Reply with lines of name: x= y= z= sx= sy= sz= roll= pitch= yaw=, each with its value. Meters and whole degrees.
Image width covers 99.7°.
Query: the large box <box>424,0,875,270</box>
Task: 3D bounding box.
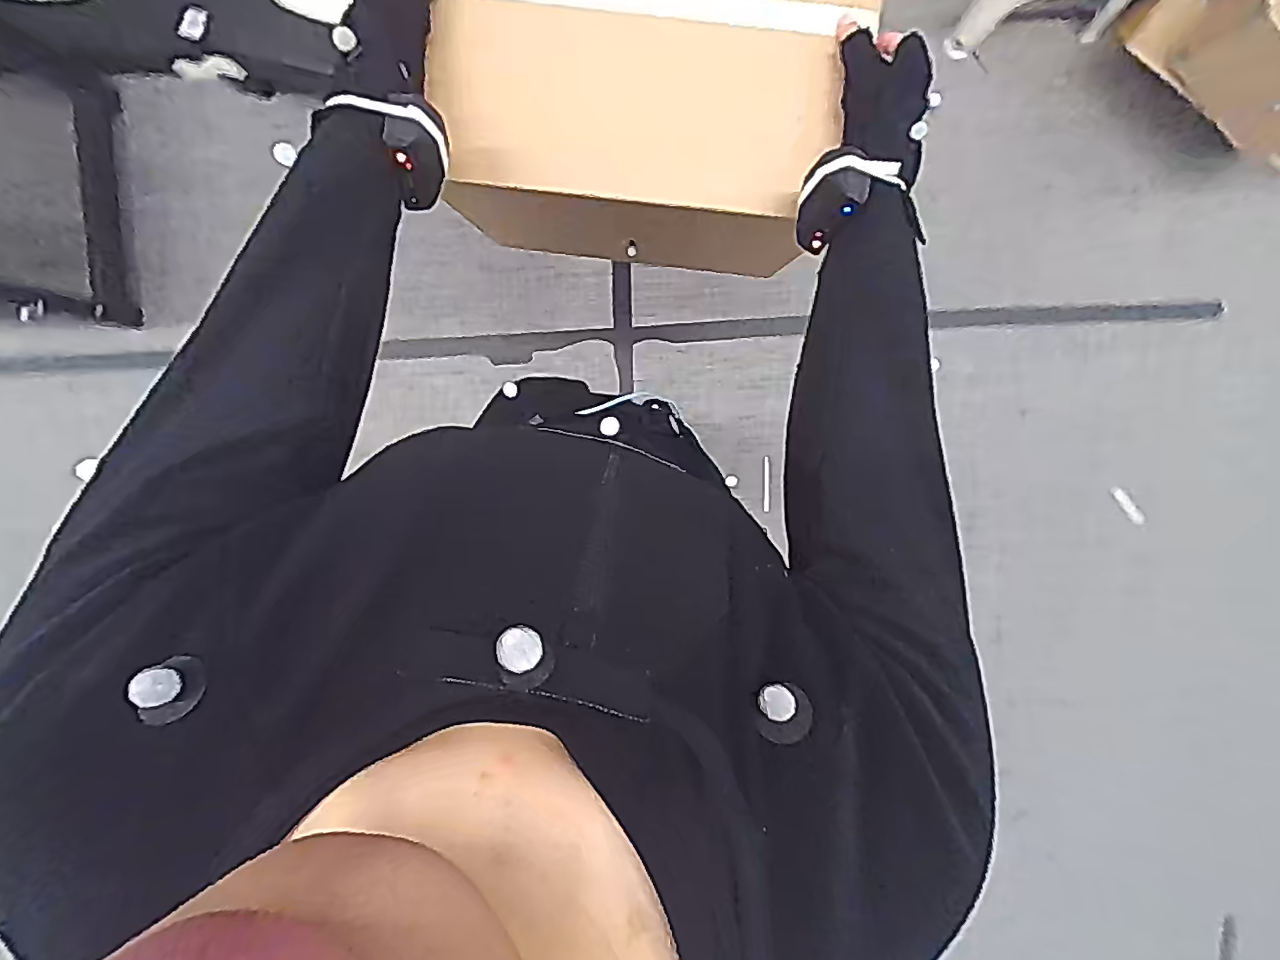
large box: x=0.012 y=-0.445 z=0.627 sx=0.408 sy=0.320 sz=0.320 roll=7 pitch=101 yaw=0
